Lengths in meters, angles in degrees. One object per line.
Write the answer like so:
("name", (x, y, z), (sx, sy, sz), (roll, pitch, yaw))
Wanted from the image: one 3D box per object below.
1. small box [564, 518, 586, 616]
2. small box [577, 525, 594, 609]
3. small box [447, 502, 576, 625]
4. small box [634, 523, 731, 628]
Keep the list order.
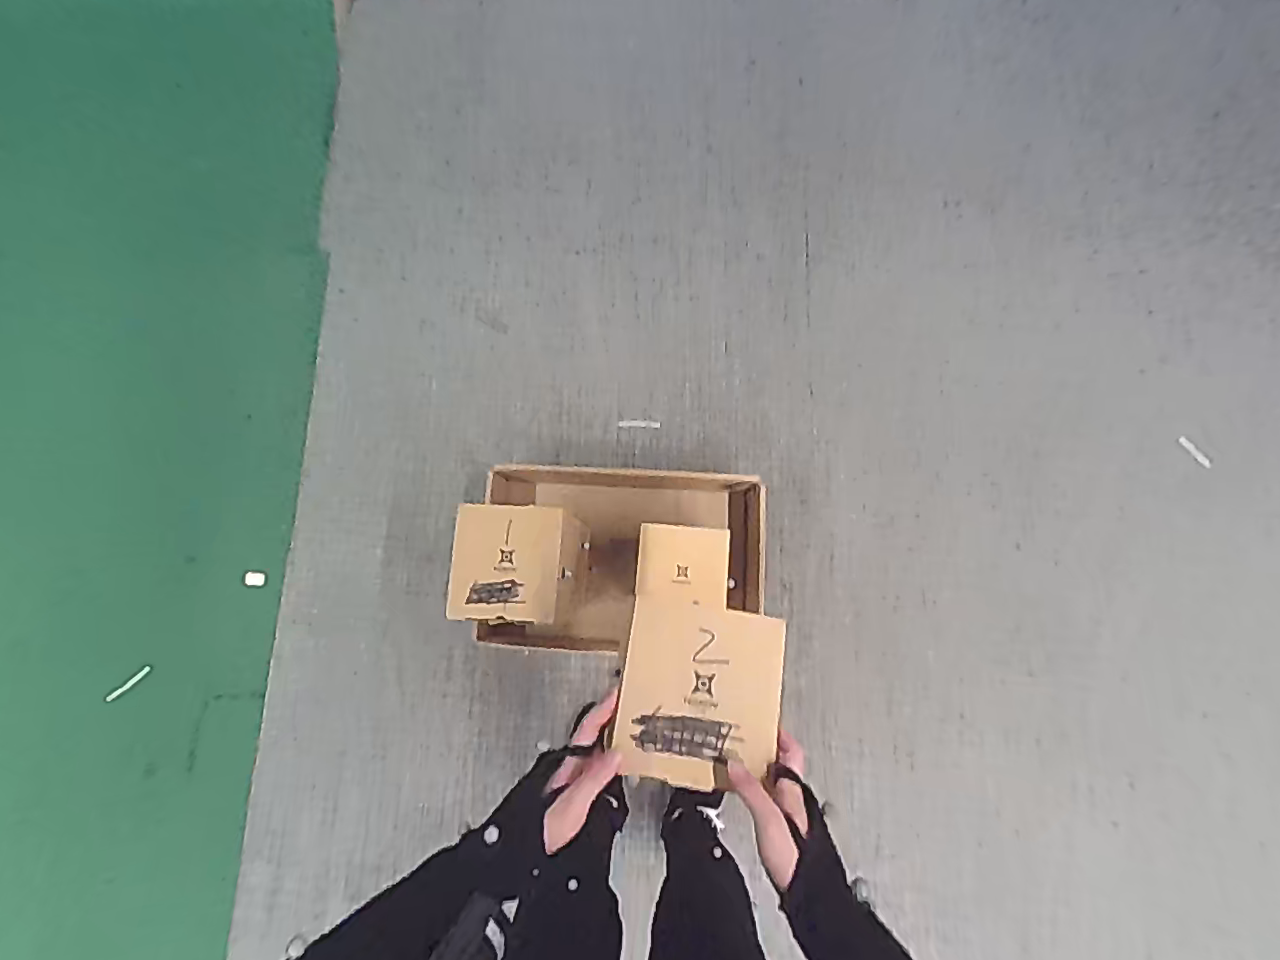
("small box", (-0.198, 0.164, 1.052), (0.168, 0.176, 0.179), (5, 80, 1))
("small box", (-0.198, 0.191, 1.212), (0.168, 0.176, 0.179), (5, 79, 2))
("small box", (-0.200, 0.138, 0.890), (0.168, 0.176, 0.179), (3, 79, 1))
("small box", (0.078, 0.183, 1.046), (0.168, 0.176, 0.179), (5, 81, 2))
